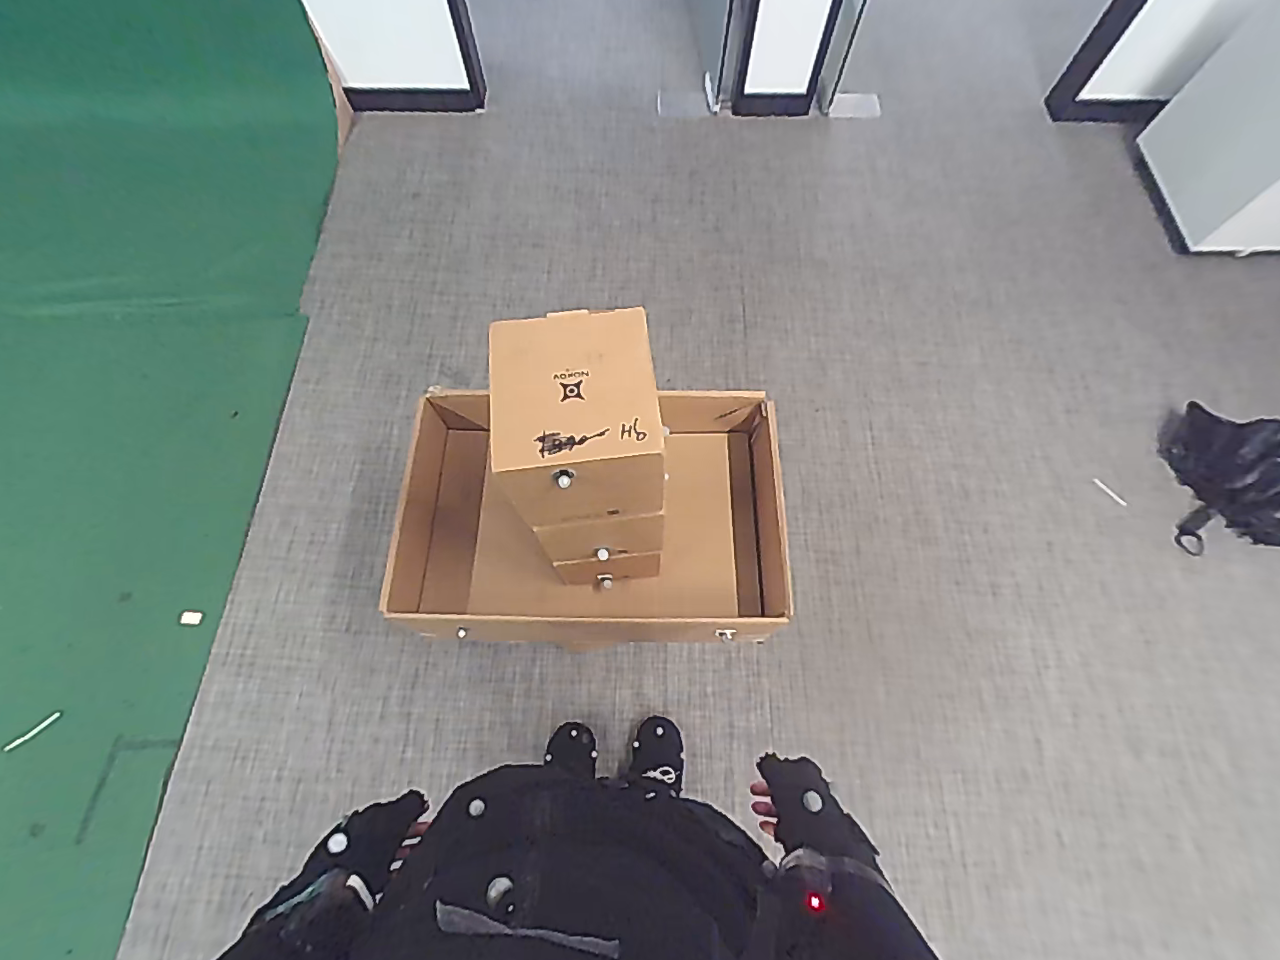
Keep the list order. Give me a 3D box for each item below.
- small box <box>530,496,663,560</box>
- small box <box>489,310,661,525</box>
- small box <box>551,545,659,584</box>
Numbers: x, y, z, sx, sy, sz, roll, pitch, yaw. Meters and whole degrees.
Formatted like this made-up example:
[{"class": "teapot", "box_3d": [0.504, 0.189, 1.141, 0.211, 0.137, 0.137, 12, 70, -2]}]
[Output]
[{"class": "small box", "box_3d": [-0.060, 0.002, 0.768, 0.168, 0.176, 0.179, -7, 68, -1]}, {"class": "small box", "box_3d": [-0.068, -0.064, 0.619, 0.168, 0.176, 0.179, -7, 66, 0]}, {"class": "small box", "box_3d": [-0.060, 0.067, 0.919, 0.168, 0.176, 0.179, -6, 68, -1]}]
